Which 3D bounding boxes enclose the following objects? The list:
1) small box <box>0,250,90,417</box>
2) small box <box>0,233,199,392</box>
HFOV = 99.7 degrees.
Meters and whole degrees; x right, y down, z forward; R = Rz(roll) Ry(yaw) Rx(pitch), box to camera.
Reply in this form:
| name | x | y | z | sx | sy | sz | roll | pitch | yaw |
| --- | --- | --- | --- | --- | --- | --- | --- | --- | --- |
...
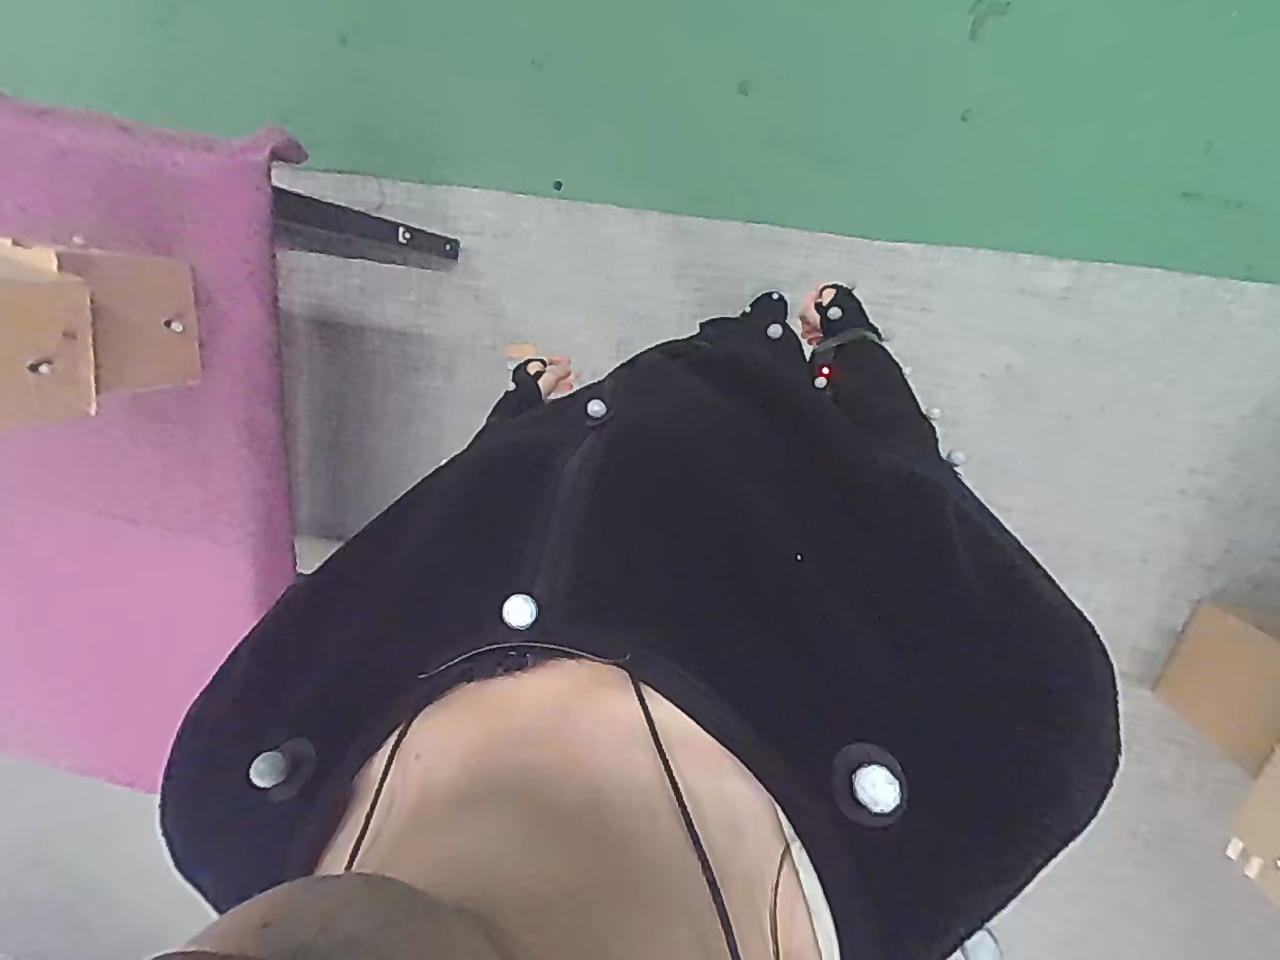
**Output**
| name | x | y | z | sx | sy | sz | roll | pitch | yaw |
| --- | --- | --- | --- | --- | --- | --- | --- | --- | --- |
| small box | -0.755 | -0.163 | 0.578 | 0.179 | 0.176 | 0.168 | 18 | 108 | 3 |
| small box | -0.746 | -0.224 | 0.731 | 0.168 | 0.176 | 0.179 | 11 | 107 | 7 |
